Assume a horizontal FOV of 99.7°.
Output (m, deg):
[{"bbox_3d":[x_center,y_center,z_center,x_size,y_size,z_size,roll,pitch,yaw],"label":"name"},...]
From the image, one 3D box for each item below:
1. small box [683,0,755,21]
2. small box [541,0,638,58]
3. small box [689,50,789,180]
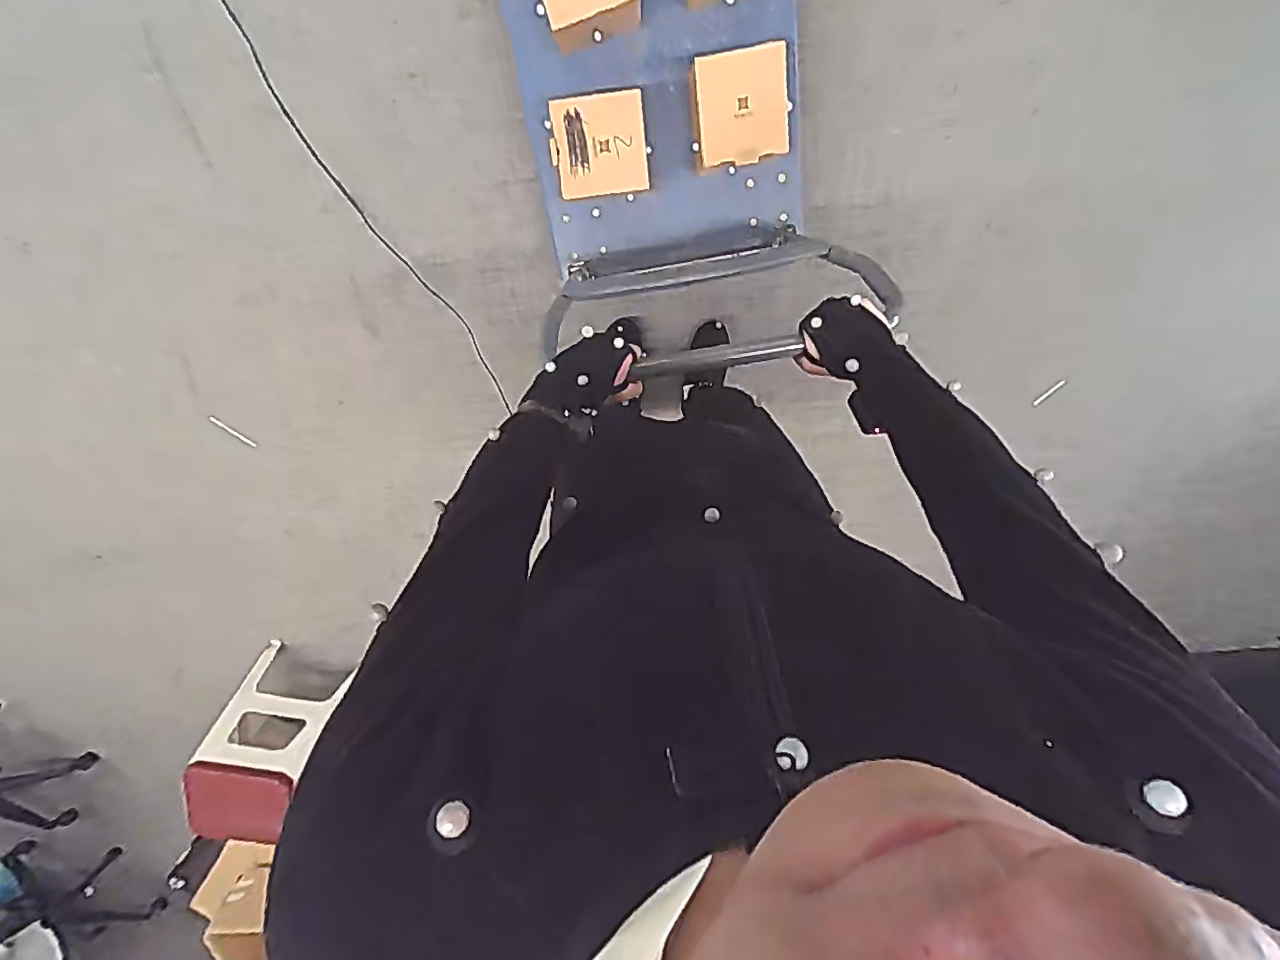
[{"bbox_3d":[0.149,-0.976,0.964,0.168,0.176,0.179,-15,115,7],"label":"small box"},{"bbox_3d":[-0.102,-0.913,0.993,0.168,0.176,0.179,-16,114,6],"label":"small box"},{"bbox_3d":[0.193,-0.719,1.084,0.168,0.176,0.179,-8,115,4],"label":"small box"}]
